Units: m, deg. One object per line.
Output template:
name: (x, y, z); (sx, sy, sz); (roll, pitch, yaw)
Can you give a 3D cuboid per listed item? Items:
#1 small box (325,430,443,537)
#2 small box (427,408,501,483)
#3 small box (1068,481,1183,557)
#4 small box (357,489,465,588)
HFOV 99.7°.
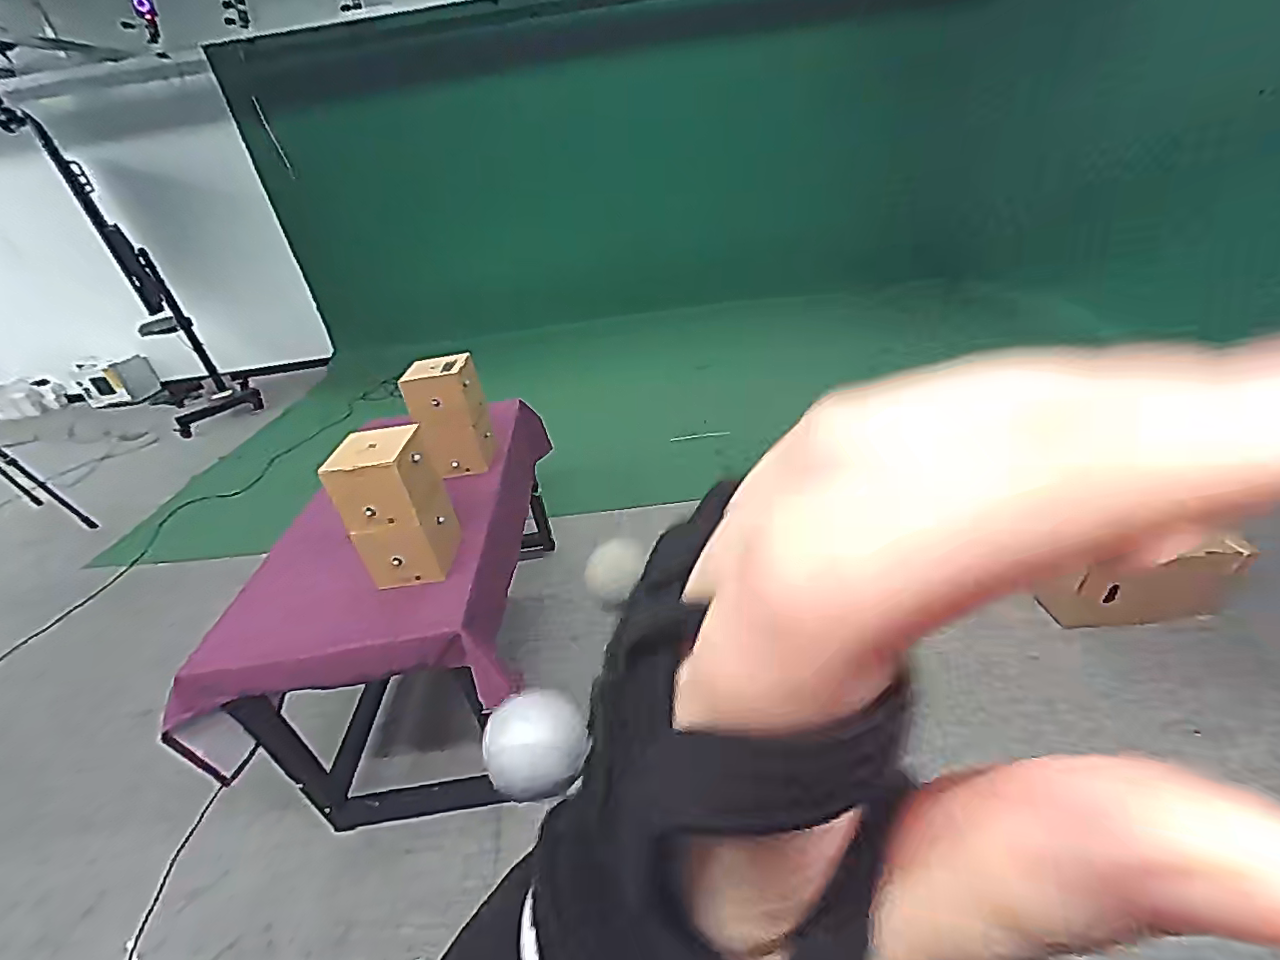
small box: (-0.567, 0.007, 1.229); (0.168, 0.176, 0.179); (-8, 33, 3)
small box: (-0.555, -0.111, 1.725); (0.168, 0.176, 0.179); (-8, 33, 3)
small box: (1.452, 0.119, 1.631); (0.179, 0.176, 0.168); (-3, 33, 7)
small box: (-0.542, 0.146, 1.312); (0.168, 0.176, 0.179); (-7, 32, 3)
